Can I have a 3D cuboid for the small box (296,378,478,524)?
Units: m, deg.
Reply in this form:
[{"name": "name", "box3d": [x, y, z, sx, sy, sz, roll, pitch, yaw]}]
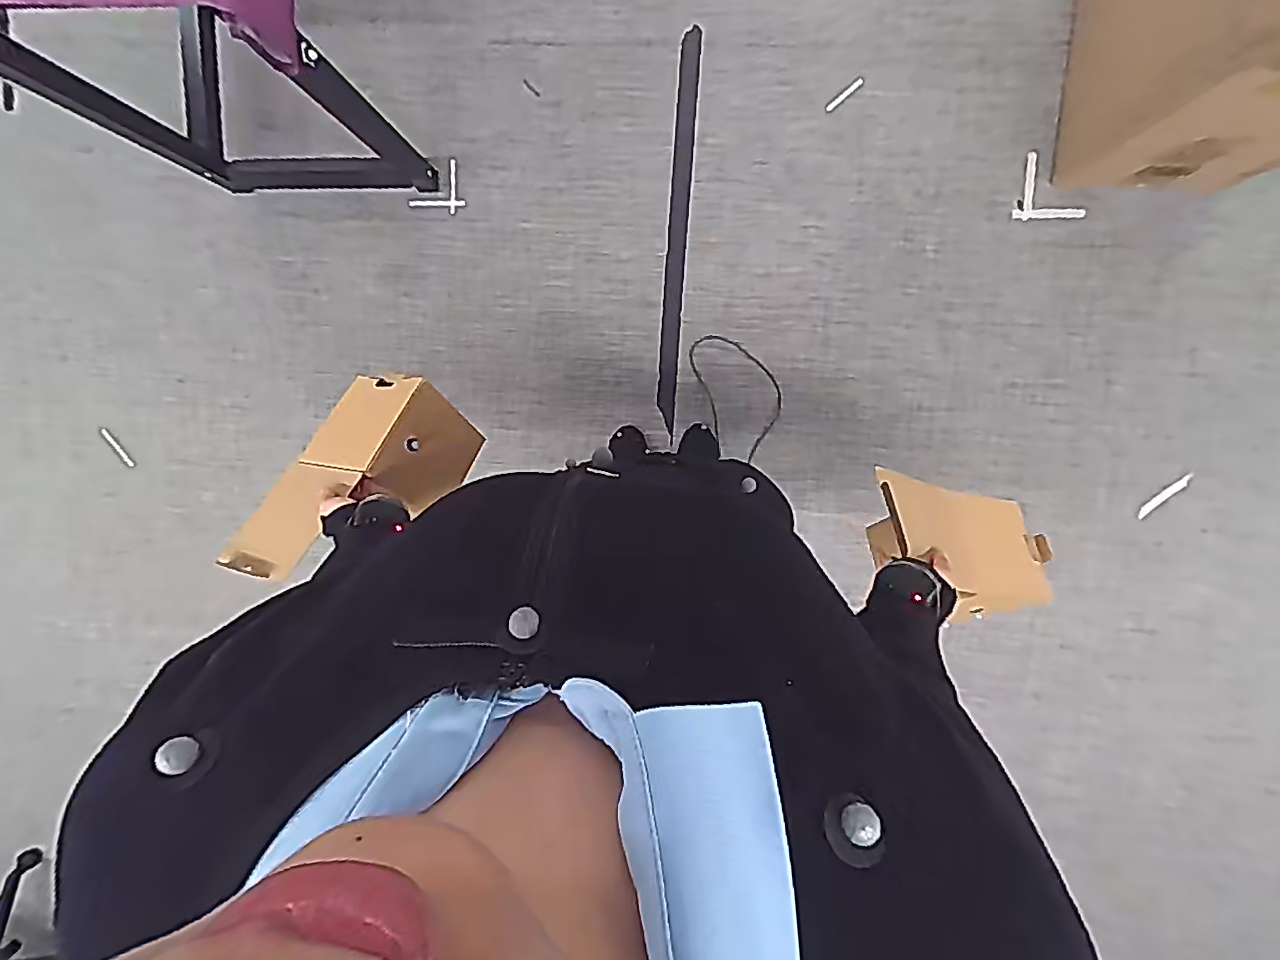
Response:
[{"name": "small box", "box3d": [-0.397, -0.045, 0.881, 0.168, 0.176, 0.179, 7, 62, 28]}]
